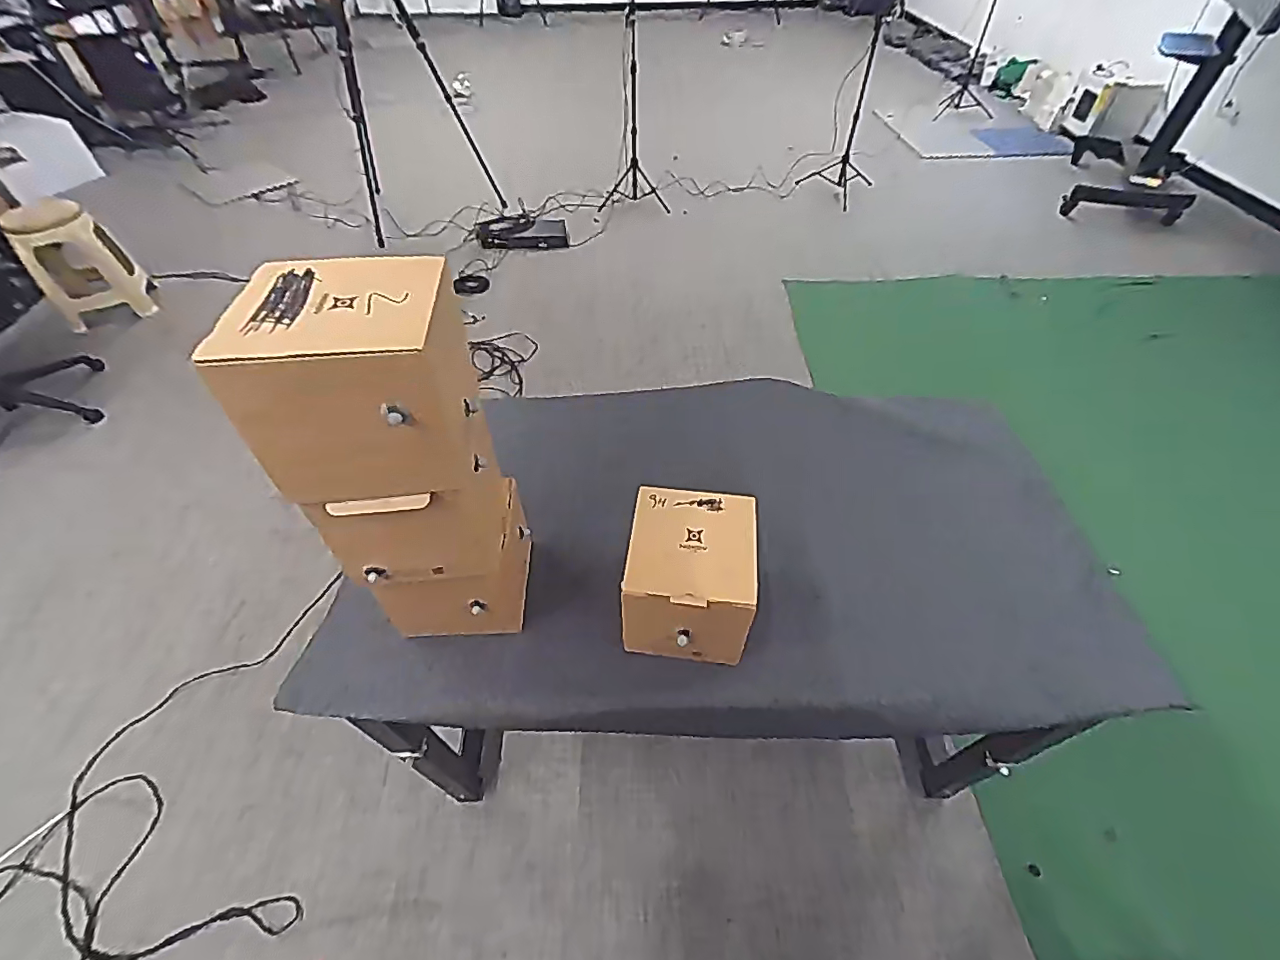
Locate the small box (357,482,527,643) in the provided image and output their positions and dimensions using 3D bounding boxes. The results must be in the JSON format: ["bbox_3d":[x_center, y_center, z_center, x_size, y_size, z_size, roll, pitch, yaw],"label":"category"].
[{"bbox_3d":[-0.267,0.122,0.784,0.179,0.176,0.168,-3,47,-1],"label":"small box"}]

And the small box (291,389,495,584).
[{"bbox_3d":[-0.279,0.013,0.660,0.168,0.176,0.179,-5,47,-5],"label":"small box"}]

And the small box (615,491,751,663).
[{"bbox_3d":[0.064,0.139,0.761,0.168,0.176,0.179,5,49,6],"label":"small box"}]
